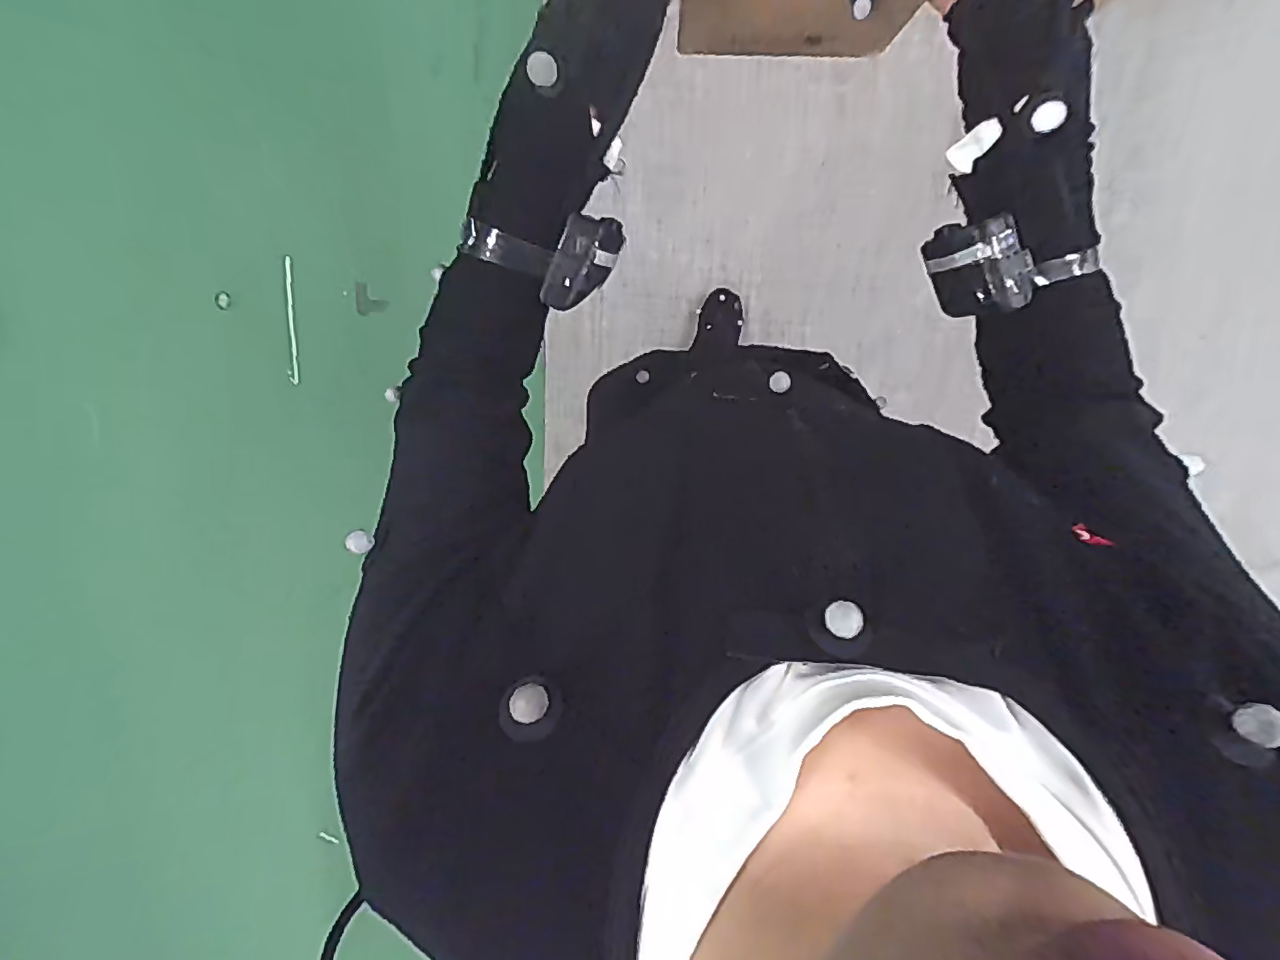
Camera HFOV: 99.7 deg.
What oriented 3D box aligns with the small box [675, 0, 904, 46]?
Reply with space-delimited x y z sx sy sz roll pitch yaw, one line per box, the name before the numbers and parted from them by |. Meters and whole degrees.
small box | 0.110 -0.409 0.336 0.168 0.176 0.179 1 104 -1
